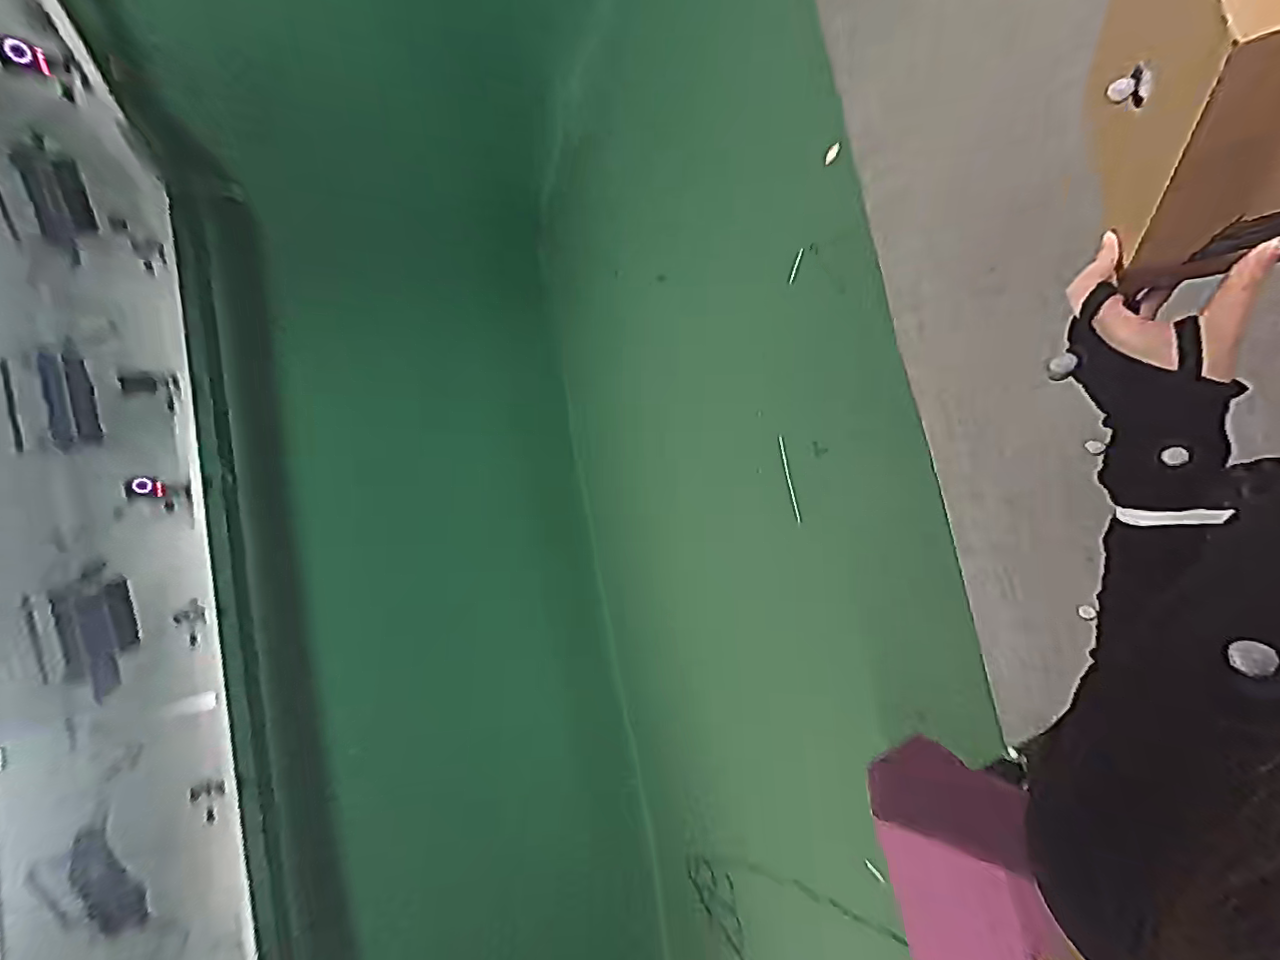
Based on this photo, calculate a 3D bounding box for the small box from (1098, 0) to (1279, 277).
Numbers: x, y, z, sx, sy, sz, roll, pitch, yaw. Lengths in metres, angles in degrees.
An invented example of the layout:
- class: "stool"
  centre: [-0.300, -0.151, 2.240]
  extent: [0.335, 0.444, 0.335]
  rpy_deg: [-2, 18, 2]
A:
- class: "small box"
  centre: [0.364, -0.241, 0.280]
  extent: [0.168, 0.179, 0.176]
  rpy_deg: [-2, 72, 28]
